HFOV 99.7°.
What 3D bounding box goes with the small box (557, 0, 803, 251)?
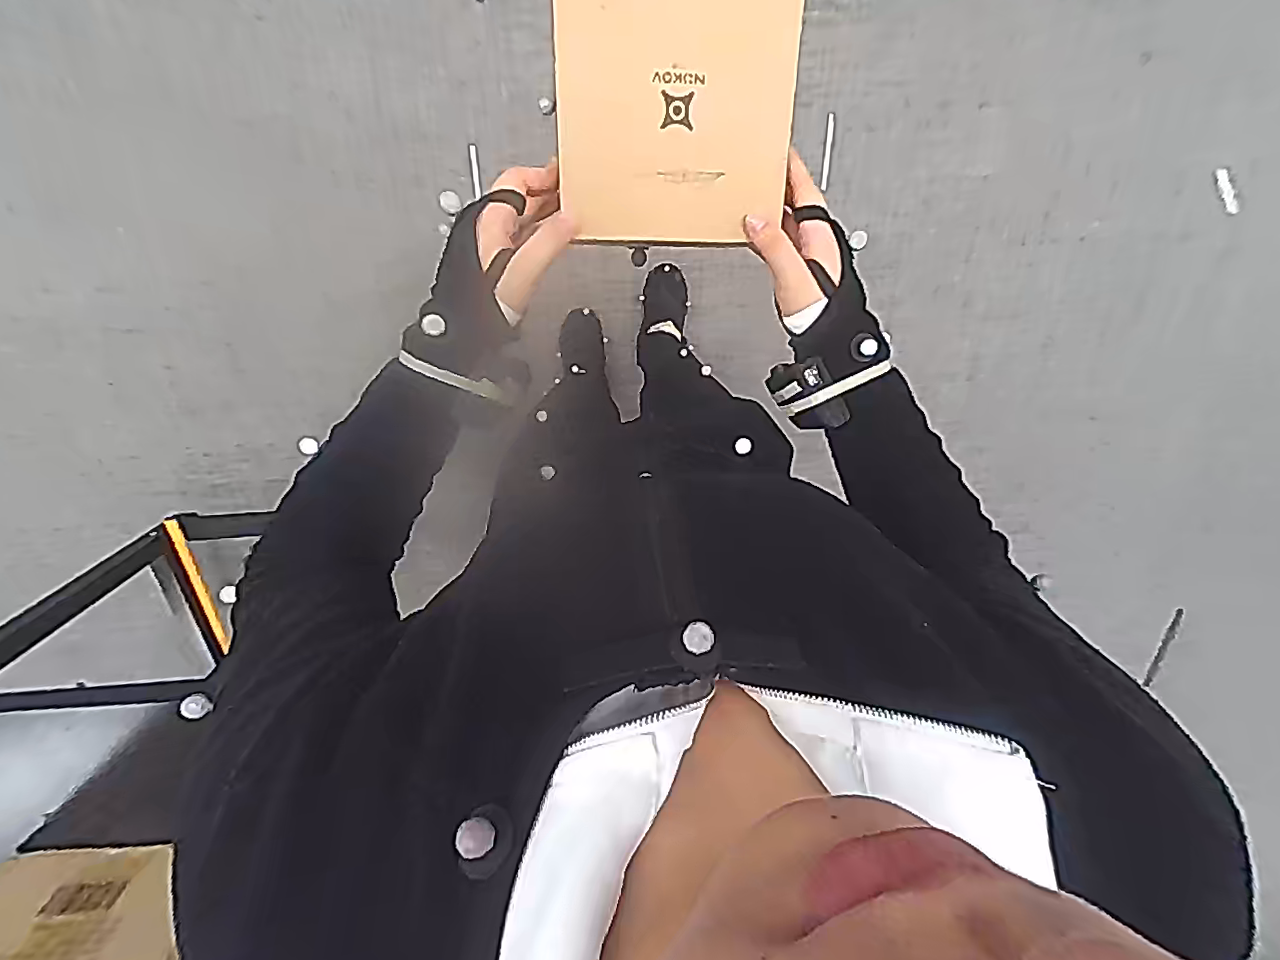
[{"bbox_3d":[0.017,-0.288,0.444,0.168,0.176,0.179,-2,112,-6],"label":"small box"}]
